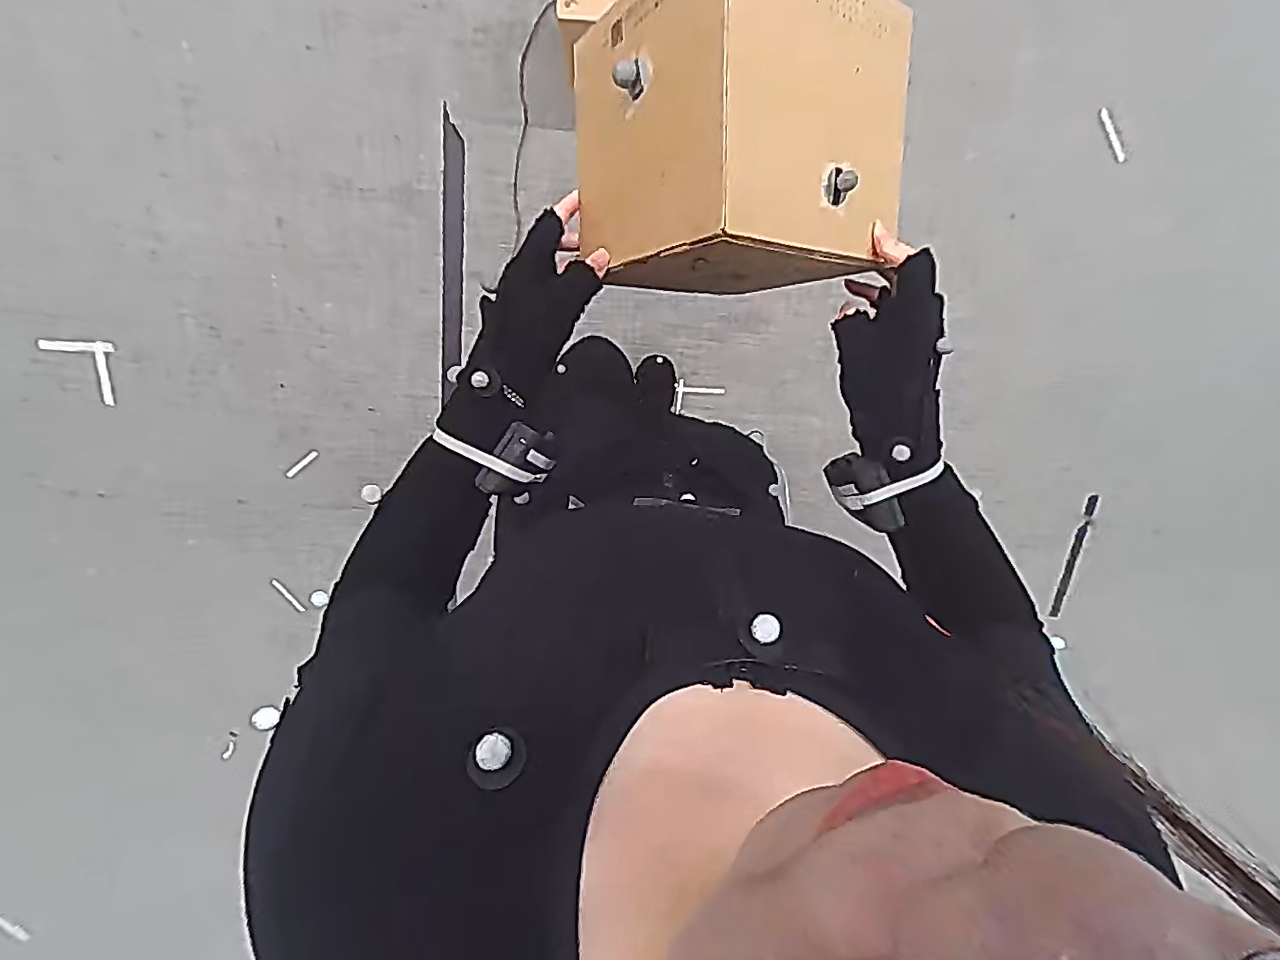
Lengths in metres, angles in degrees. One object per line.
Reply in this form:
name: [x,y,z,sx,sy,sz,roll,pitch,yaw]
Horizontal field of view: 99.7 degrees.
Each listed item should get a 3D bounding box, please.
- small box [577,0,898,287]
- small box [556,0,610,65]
small box: [0.068,-0.245,0.399,0.179,0.168,0.176,-9,103,-34]
small box: [-0.060,-0.898,1.008,0.179,0.176,0.168,4,104,-4]
